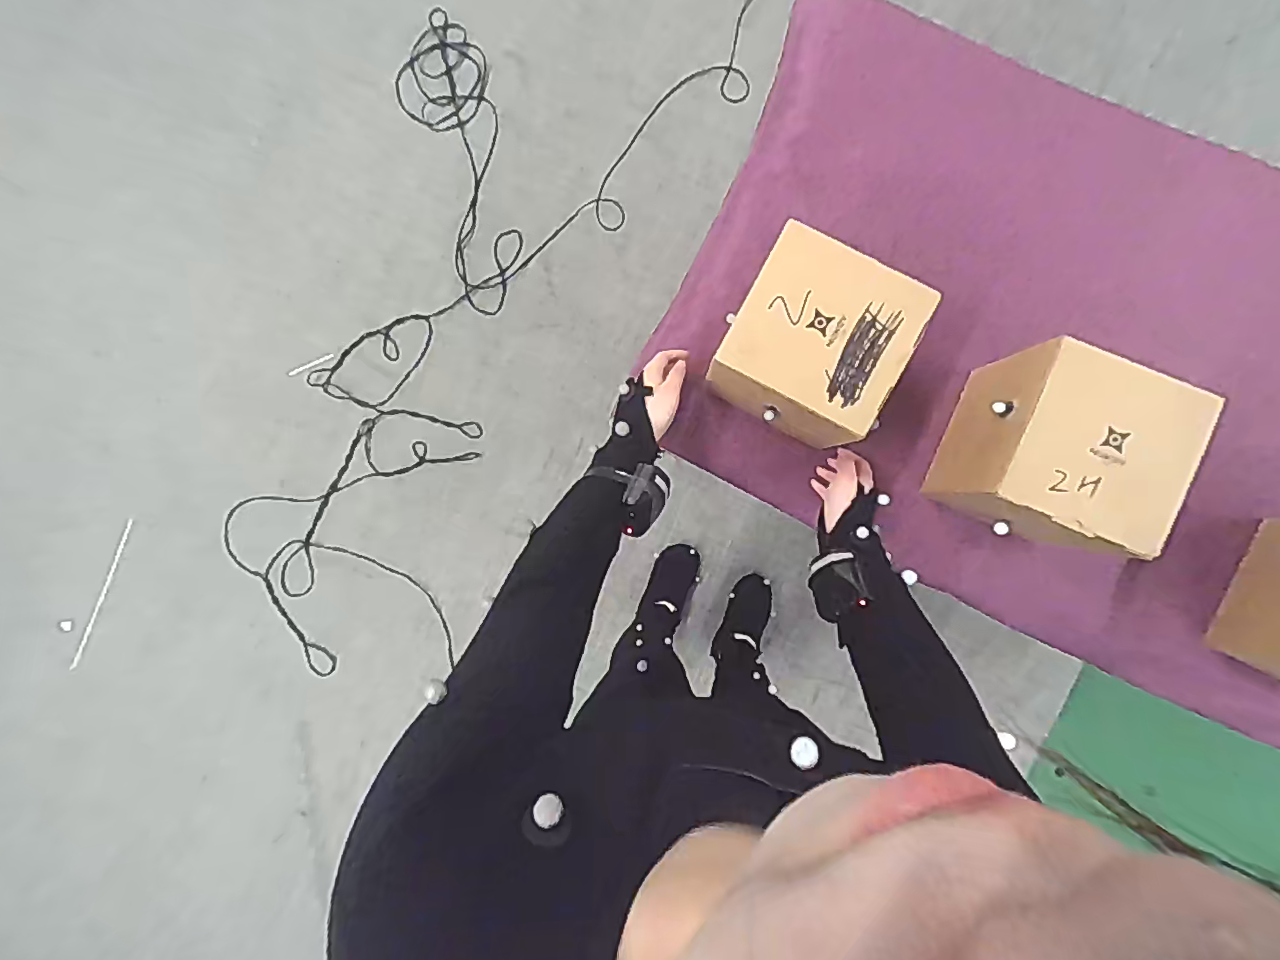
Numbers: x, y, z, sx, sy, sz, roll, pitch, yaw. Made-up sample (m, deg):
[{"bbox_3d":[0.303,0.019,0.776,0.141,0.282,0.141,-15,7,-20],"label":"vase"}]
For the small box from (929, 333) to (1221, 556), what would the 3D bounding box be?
[{"bbox_3d":[0.464,-0.034,0.610,0.168,0.176,0.179,23,90,4],"label":"small box"}]

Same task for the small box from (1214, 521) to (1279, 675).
[{"bbox_3d":[0.810,0.155,0.591,0.168,0.176,0.179,24,92,4],"label":"small box"}]
